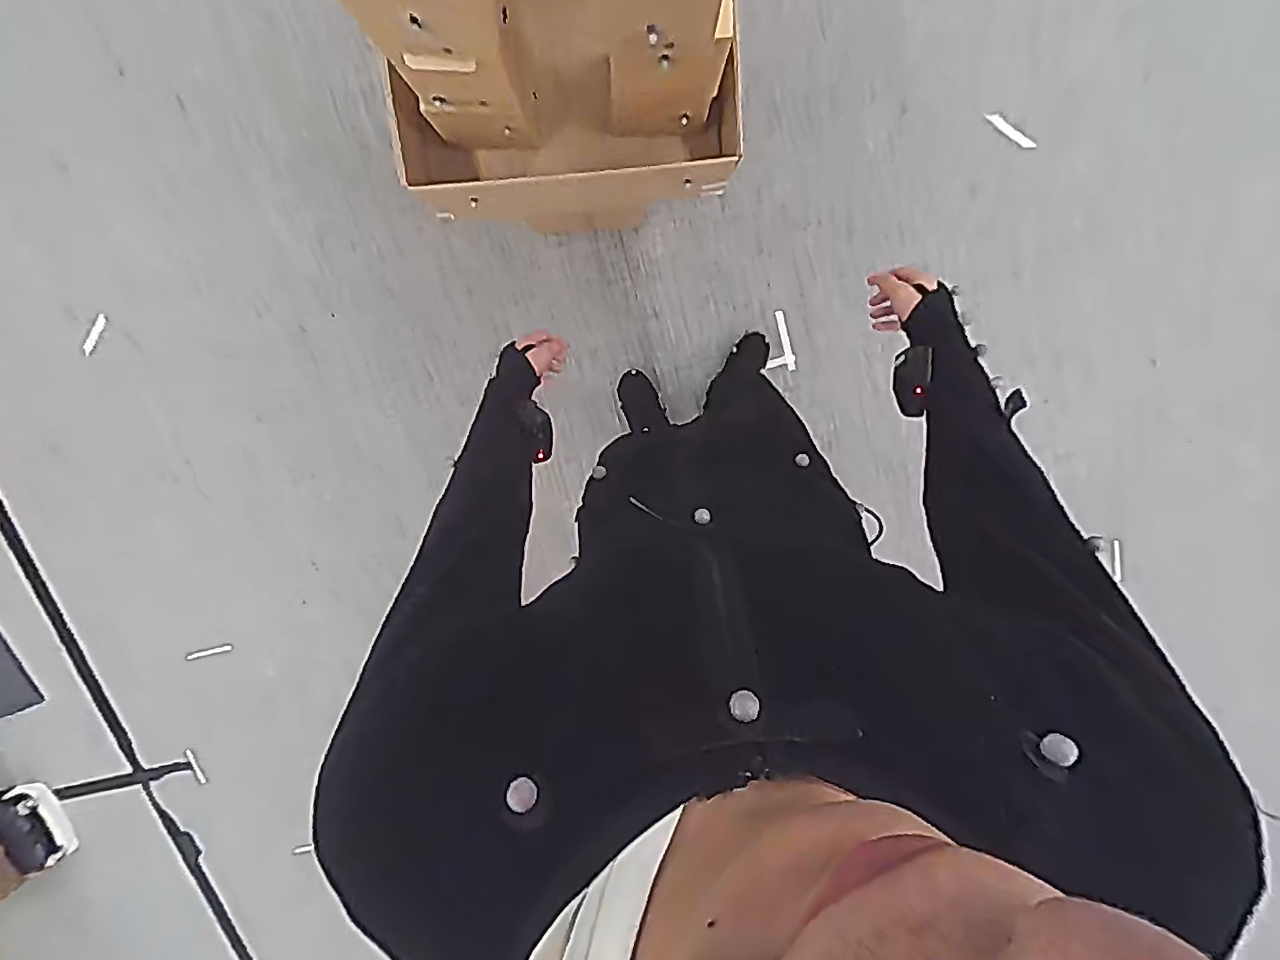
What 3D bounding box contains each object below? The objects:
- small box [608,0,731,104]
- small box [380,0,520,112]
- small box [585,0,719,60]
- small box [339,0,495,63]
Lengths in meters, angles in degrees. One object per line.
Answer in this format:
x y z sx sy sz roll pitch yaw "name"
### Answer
0.037 -0.703 0.822 0.179 0.176 0.168 -3 101 1 "small box"
-0.279 -0.692 0.820 0.168 0.176 0.179 2 101 -1 "small box"
0.015 -0.662 0.663 0.168 0.176 0.179 1 101 1 "small box"
-0.276 -0.654 0.660 0.168 0.176 0.179 6 102 -2 "small box"
